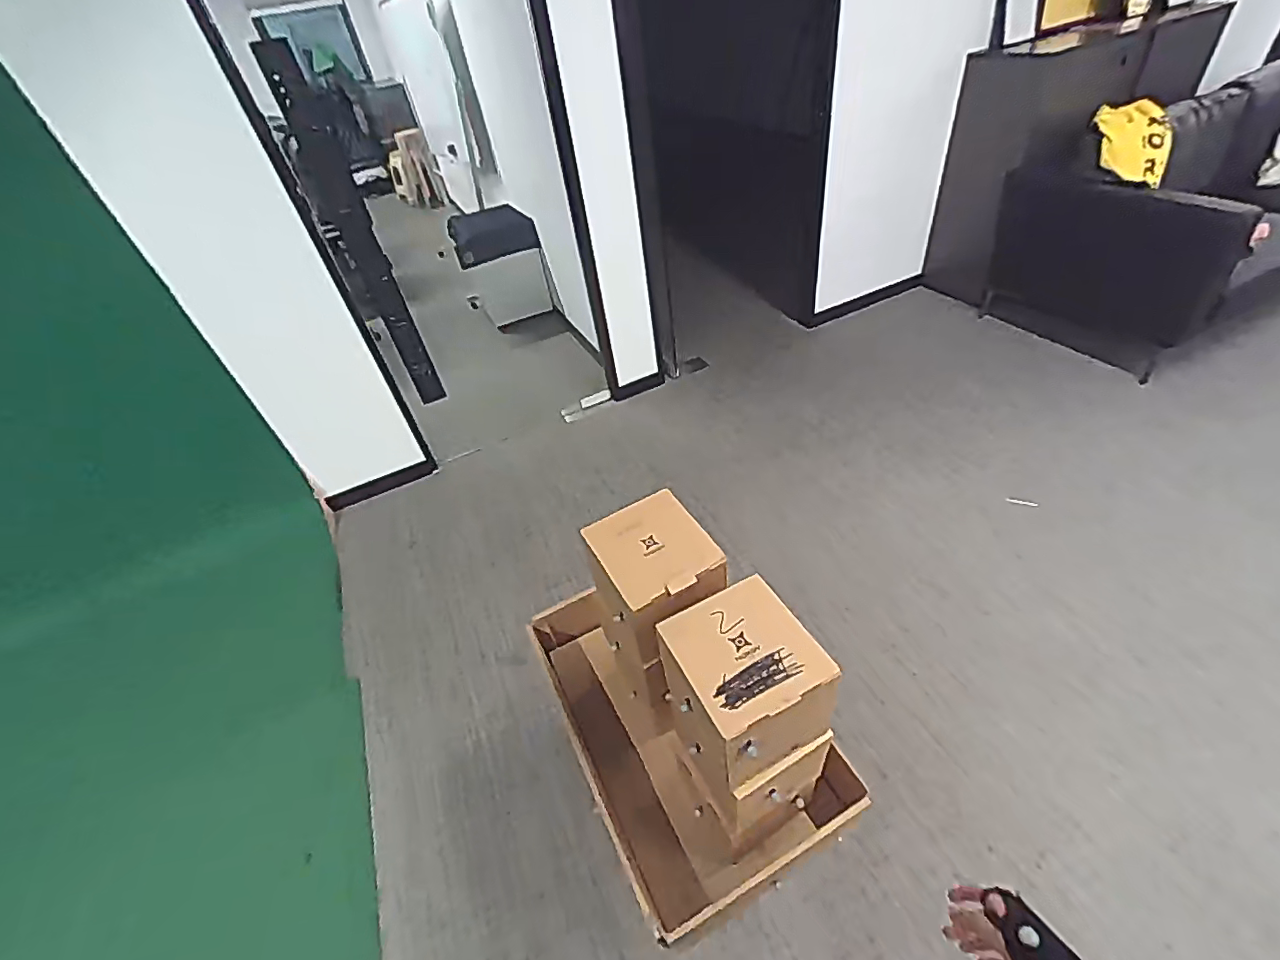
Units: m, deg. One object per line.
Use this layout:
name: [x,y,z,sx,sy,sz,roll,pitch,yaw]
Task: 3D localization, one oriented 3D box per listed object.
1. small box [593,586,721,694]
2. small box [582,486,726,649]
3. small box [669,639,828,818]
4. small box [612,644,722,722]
small box: [0.035,0.265,0.995,0.168,0.176,0.179,-27,48,-18]
small box: [0.026,0.149,0.881,0.168,0.176,0.179,-25,48,-17]
small box: [0.164,0.390,0.840,0.168,0.176,0.179,-24,45,-16]
small box: [0.055,0.372,1.118,0.168,0.176,0.179,-26,49,-18]
